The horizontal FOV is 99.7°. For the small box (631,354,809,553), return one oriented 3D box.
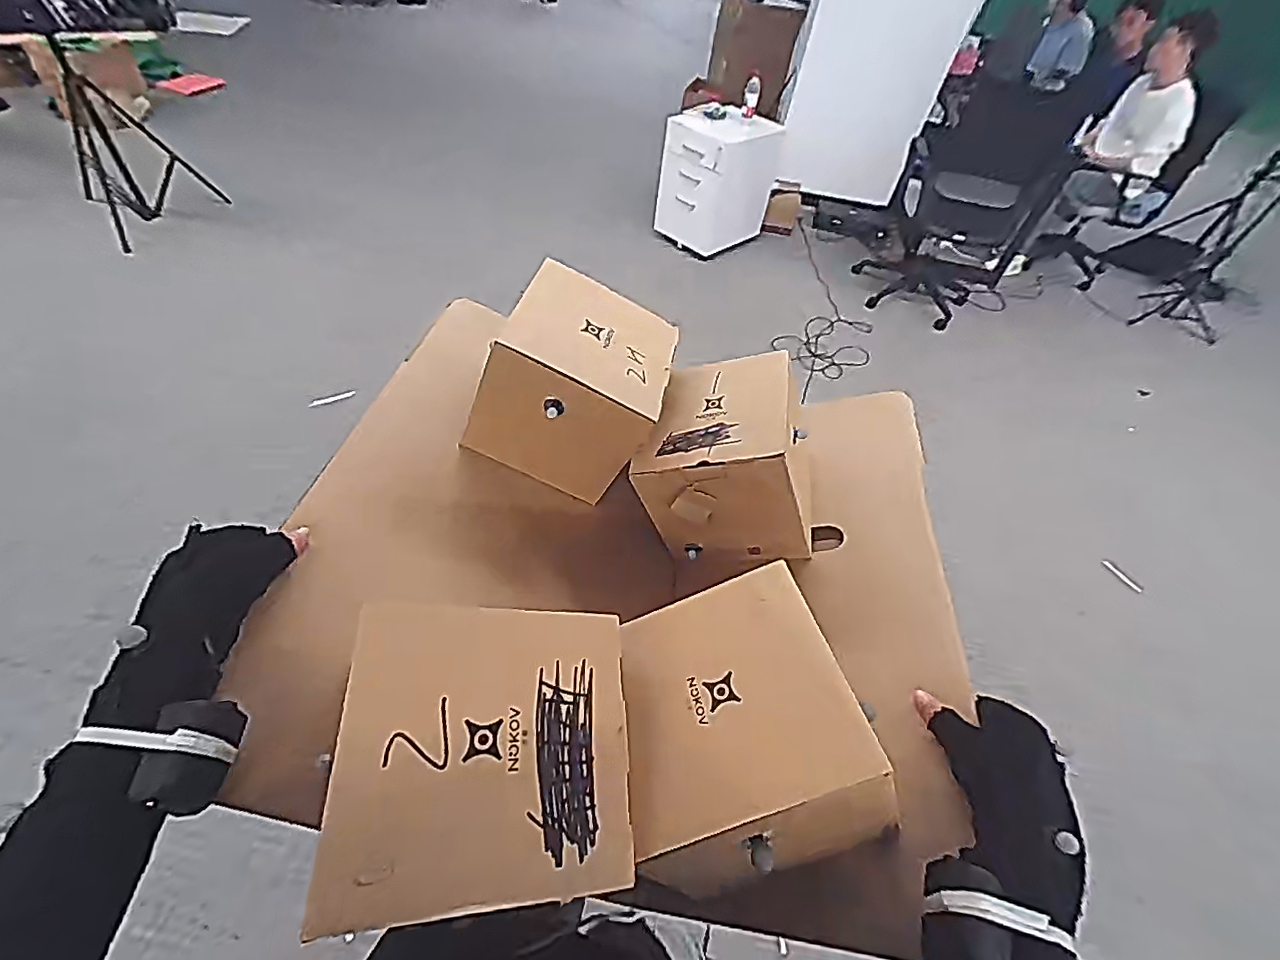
[{"bbox_3d":[0.109,-0.022,0.657,0.168,0.176,0.179,-6,44,23],"label":"small box"}]
